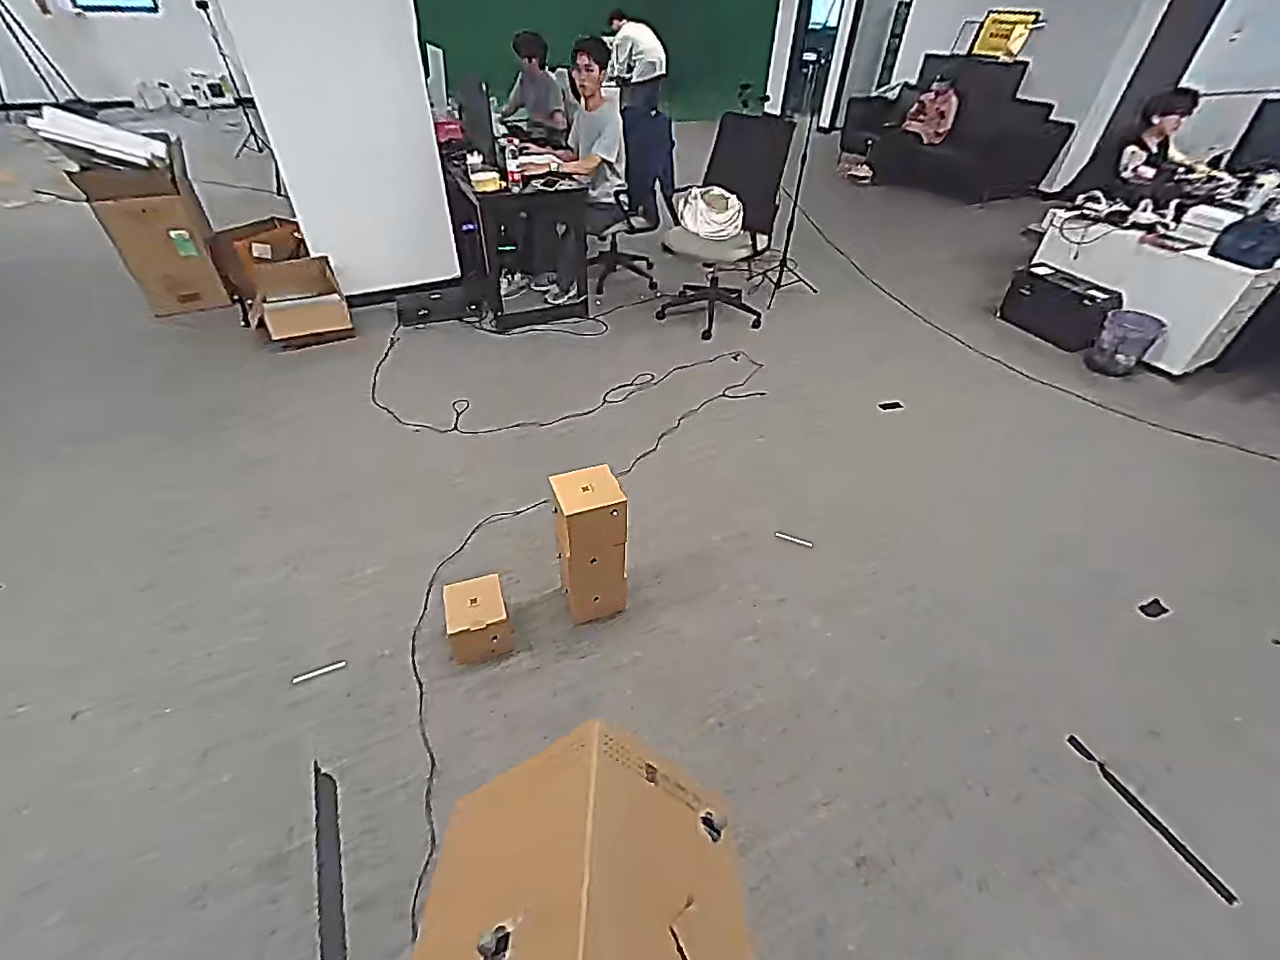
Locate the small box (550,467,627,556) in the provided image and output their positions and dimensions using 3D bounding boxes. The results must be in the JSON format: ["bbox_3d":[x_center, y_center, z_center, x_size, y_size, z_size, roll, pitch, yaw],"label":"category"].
[{"bbox_3d":[-0.144,0.091,1.520,0.179,0.176,0.168,-14,44,-18],"label":"small box"}]

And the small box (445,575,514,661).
[{"bbox_3d":[-0.482,0.421,1.629,0.168,0.176,0.179,-11,43,-16],"label":"small box"}]

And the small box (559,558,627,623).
[{"bbox_3d":[-0.149,0.333,1.742,0.179,0.176,0.168,-14,45,-17],"label":"small box"}]

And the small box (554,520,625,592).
[{"bbox_3d":[-0.151,0.214,1.627,0.179,0.176,0.168,-12,44,-17],"label":"small box"}]

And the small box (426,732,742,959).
[{"bbox_3d":[-0.042,0.323,0.401,0.179,0.168,0.176,-38,23,20],"label":"small box"}]
